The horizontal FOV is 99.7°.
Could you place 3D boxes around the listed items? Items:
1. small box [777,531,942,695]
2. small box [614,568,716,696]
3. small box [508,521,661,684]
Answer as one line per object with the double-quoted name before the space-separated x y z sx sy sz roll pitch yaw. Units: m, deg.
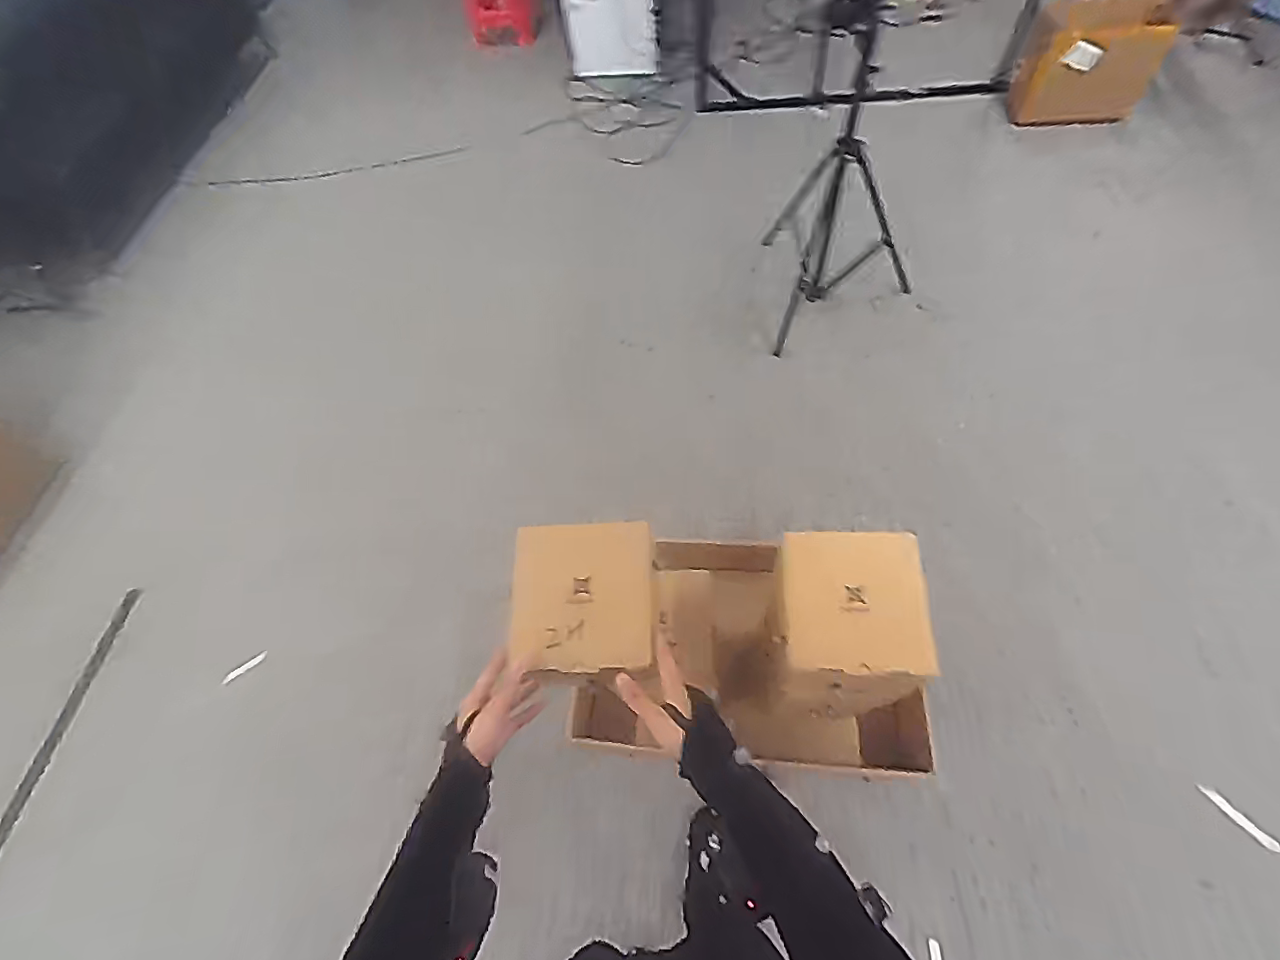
"small box" 0.275 0.181 0.723 0.168 0.176 0.179 0 63 10
"small box" 0.041 0.259 0.904 0.168 0.176 0.179 -2 59 7
"small box" -0.060 0.165 0.704 0.168 0.176 0.179 -3 65 4
